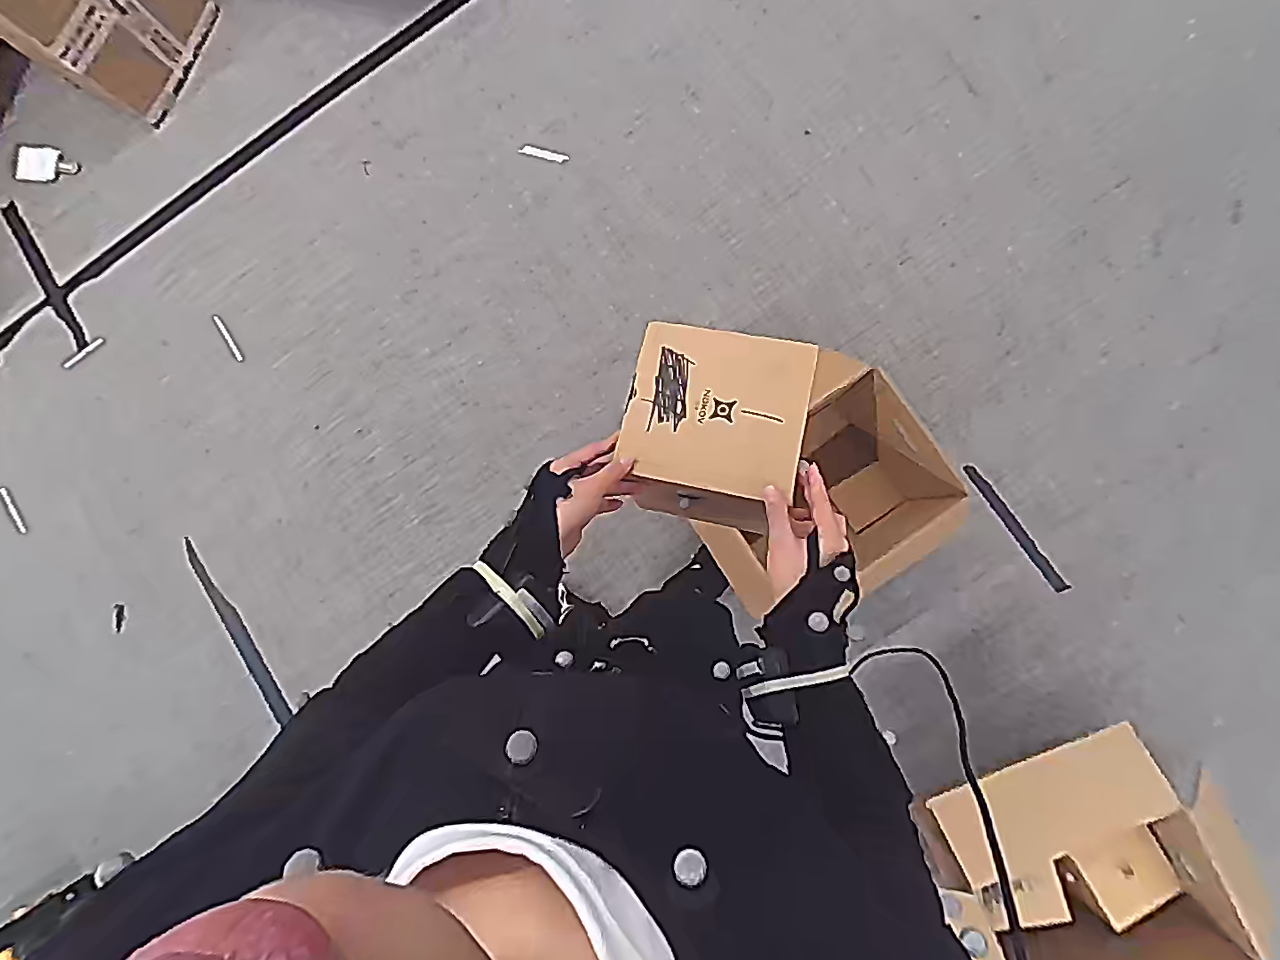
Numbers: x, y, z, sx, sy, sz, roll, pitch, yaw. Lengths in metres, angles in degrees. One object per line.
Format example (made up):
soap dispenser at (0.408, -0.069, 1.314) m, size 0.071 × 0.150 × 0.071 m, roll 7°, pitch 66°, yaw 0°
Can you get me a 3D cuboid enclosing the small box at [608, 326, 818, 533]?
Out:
small box at (0.083, -0.046, 0.596) m, size 0.179 × 0.176 × 0.168 m, roll 11°, pitch 77°, yaw 12°
